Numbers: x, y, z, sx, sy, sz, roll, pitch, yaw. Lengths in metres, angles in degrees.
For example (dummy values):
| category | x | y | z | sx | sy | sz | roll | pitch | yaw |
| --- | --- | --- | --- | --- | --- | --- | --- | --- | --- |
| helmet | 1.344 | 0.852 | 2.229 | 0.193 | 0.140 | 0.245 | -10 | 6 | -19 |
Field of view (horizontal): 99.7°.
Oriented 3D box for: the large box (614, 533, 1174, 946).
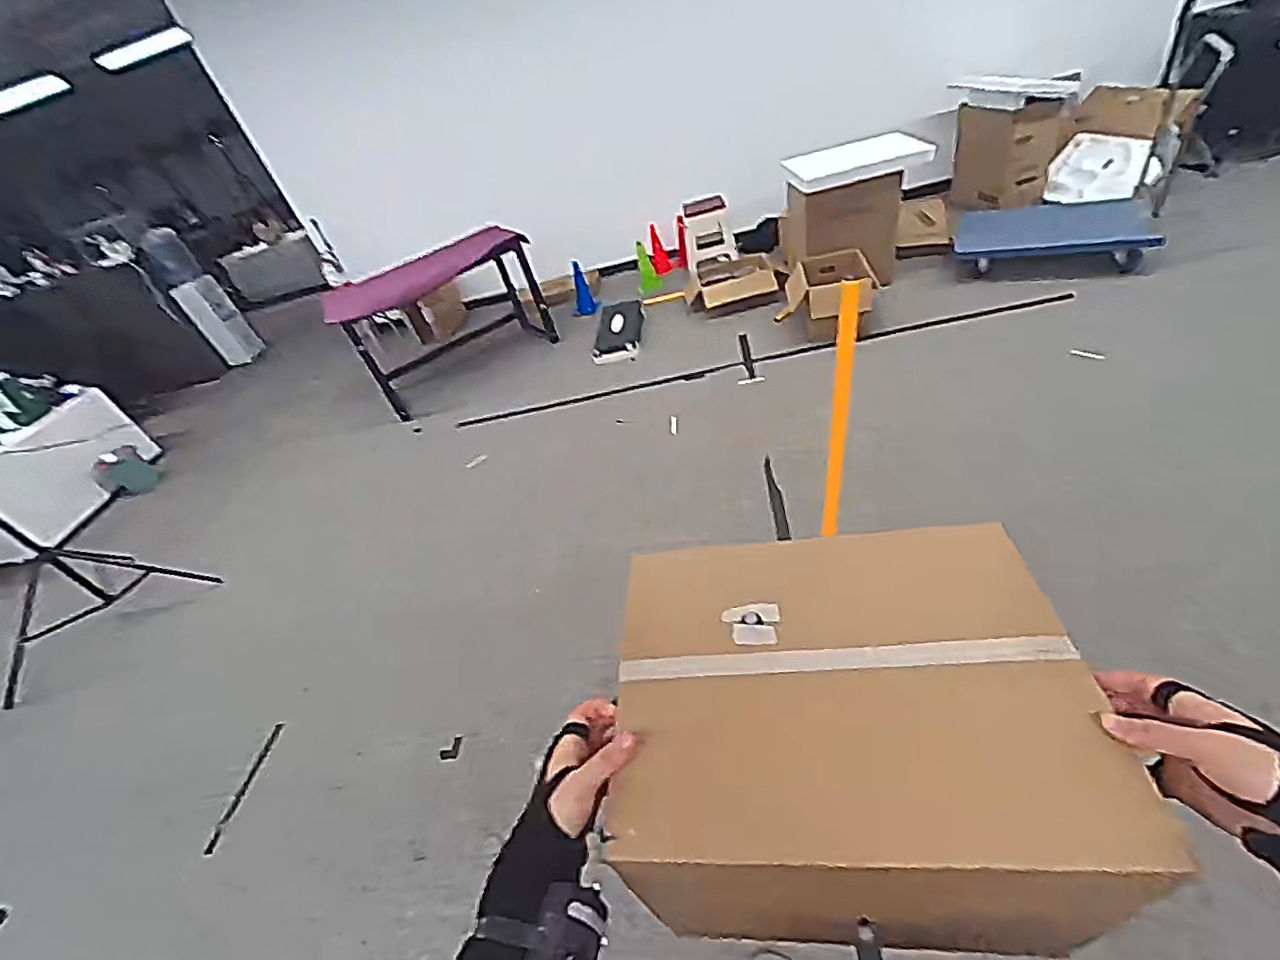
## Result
| category | x | y | z | sx | sy | sz | roll | pitch | yaw |
| --- | --- | --- | --- | --- | --- | --- | --- | --- | --- |
| large box | 0.214 | 0.295 | 0.605 | 0.408 | 0.320 | 0.320 | -8 | 39 | 12 |
